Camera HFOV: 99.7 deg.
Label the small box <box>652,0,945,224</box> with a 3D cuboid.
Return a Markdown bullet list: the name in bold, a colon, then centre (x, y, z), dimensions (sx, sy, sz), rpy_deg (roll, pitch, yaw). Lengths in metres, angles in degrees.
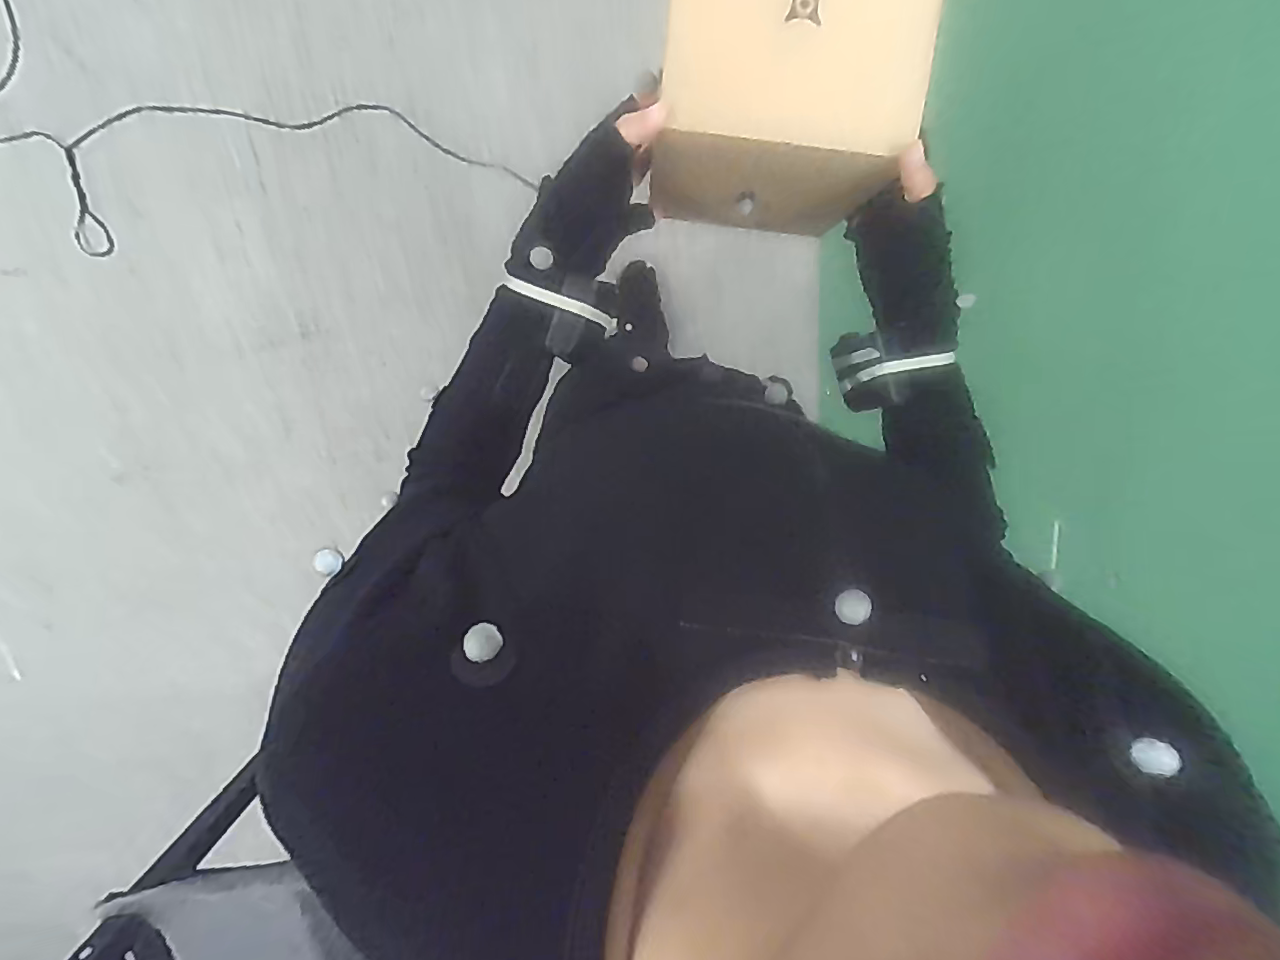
- **small box**: centre (0.100, -0.310, 0.399), dimensions (0.168, 0.176, 0.179), rpy_deg (6, 98, -3)
